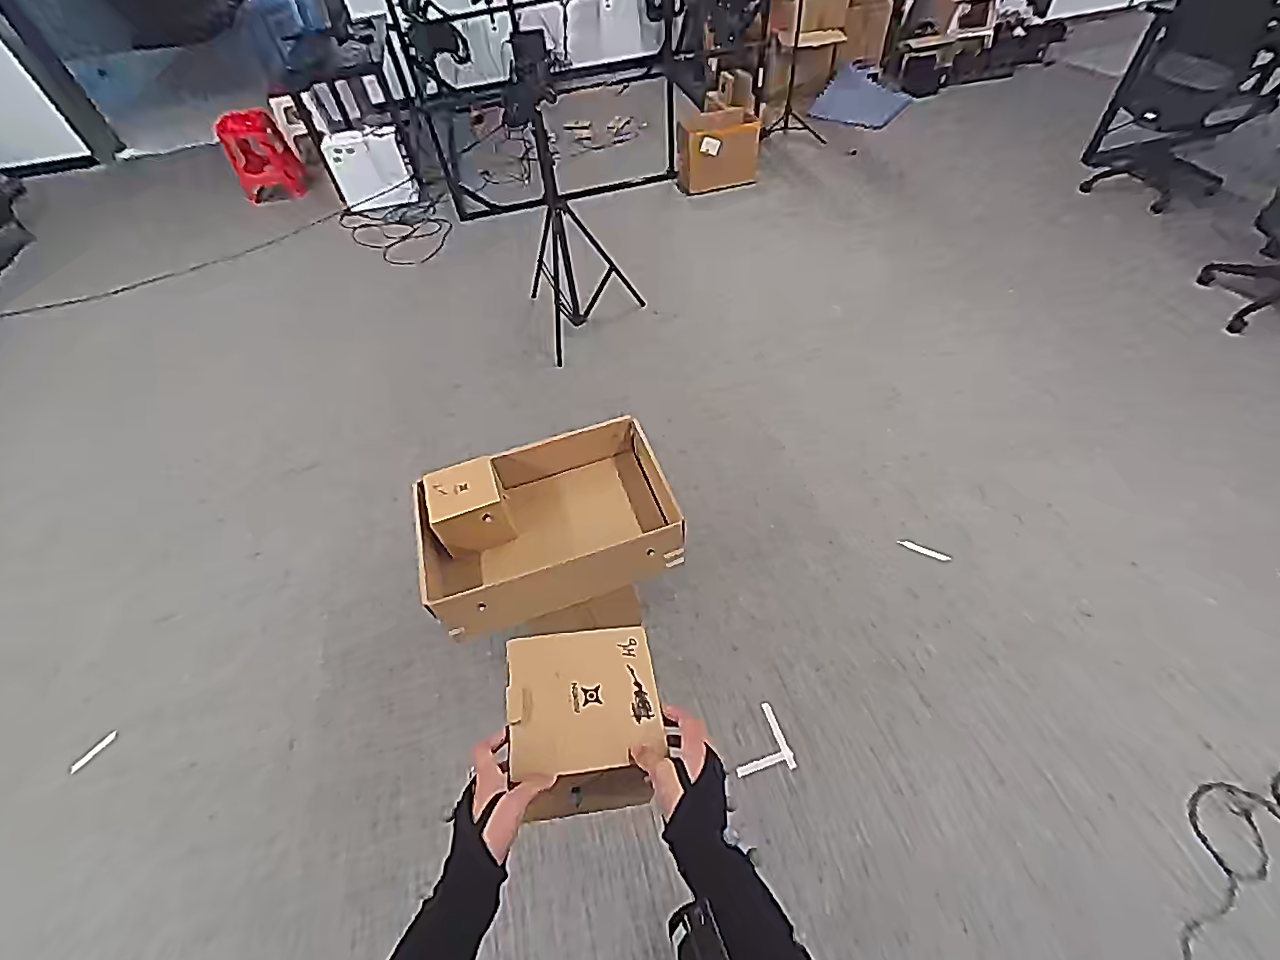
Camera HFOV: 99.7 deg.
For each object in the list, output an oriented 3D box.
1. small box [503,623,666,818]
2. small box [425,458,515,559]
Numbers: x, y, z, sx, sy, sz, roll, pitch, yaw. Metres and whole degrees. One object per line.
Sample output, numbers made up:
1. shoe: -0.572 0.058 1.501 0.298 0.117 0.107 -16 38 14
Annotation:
1. small box: -0.075 0.304 0.681 0.179 0.176 0.168 -3 46 -11
2. small box: -0.434 0.077 1.404 0.179 0.176 0.168 -19 51 -9
